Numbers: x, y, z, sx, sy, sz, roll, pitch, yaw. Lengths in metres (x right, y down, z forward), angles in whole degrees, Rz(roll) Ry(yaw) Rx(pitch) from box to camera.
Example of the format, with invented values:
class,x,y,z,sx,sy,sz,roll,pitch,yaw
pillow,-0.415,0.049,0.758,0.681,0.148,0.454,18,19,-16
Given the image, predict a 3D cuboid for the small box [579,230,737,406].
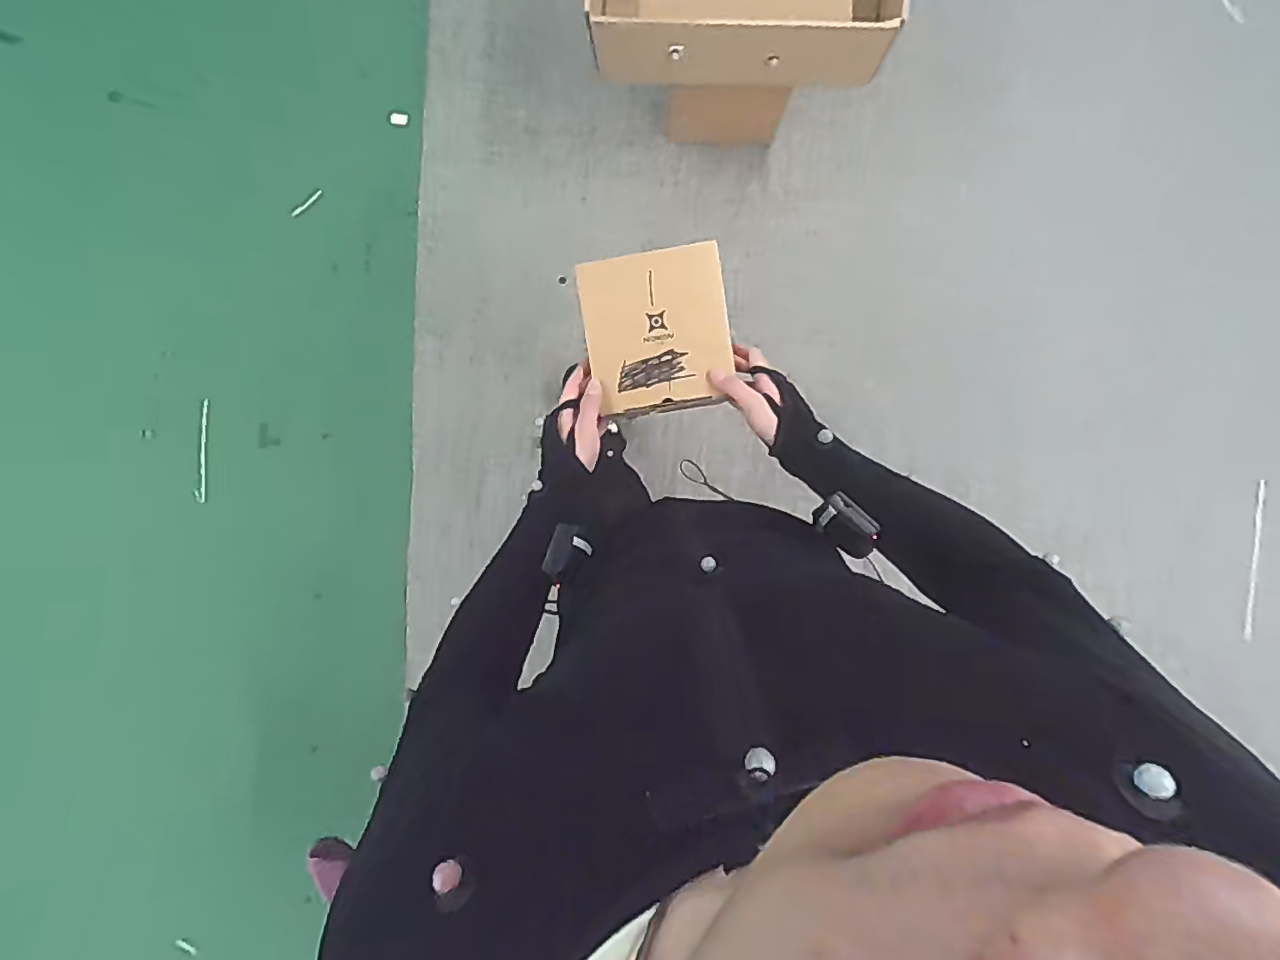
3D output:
class,x,y,z,sx,sy,sz,roll,pitch,yaw
small box,0.024,-0.190,0.690,0.168,0.176,0.179,-7,93,2
